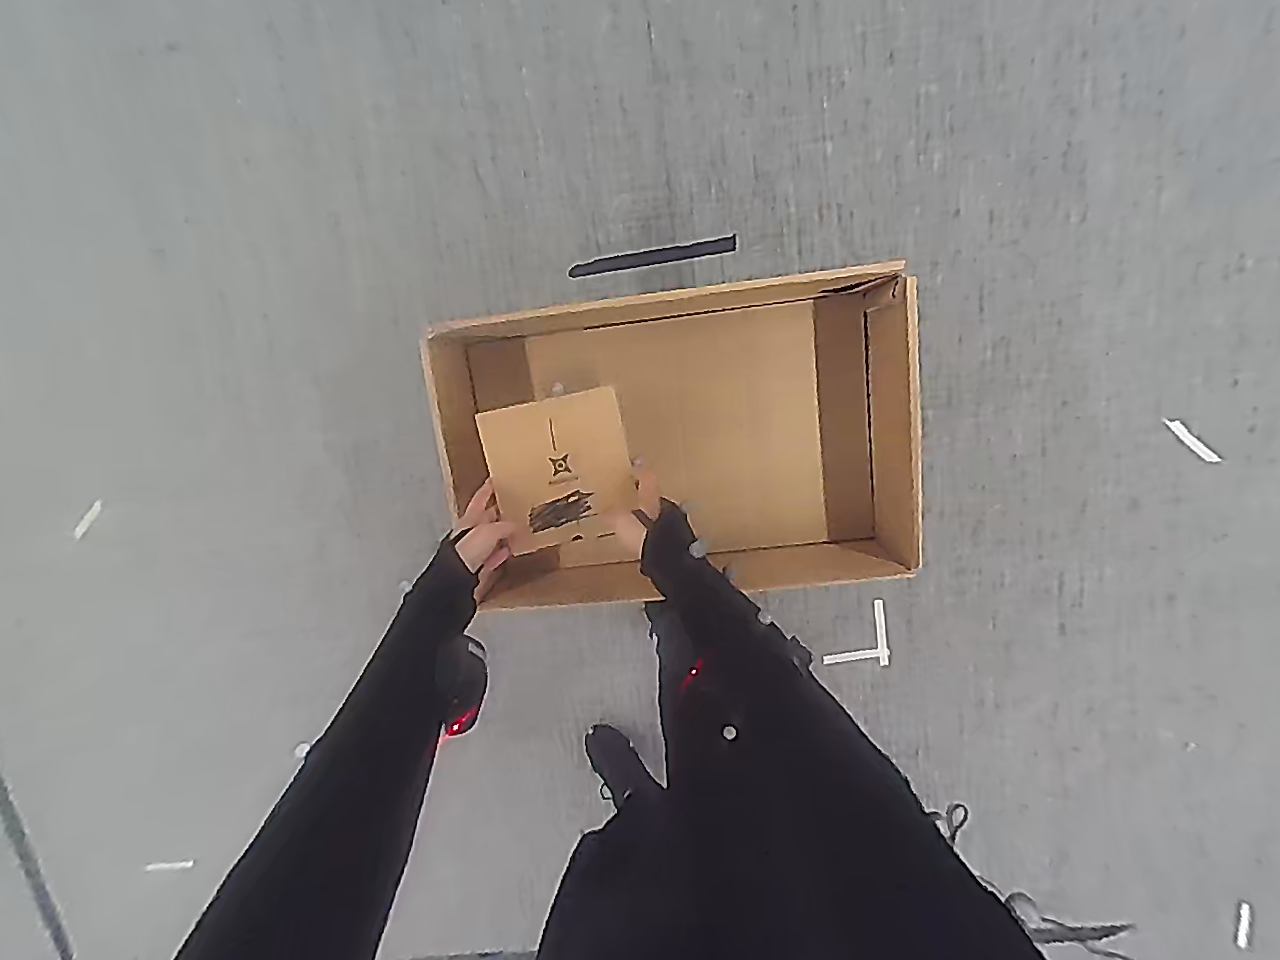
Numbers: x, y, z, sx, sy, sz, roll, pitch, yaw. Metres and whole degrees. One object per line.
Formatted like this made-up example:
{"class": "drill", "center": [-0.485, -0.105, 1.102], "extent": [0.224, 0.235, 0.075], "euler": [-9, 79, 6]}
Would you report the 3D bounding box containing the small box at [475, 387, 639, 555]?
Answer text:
{"class": "small box", "center": [-0.097, -0.021, 0.715], "extent": [0.168, 0.176, 0.179], "euler": [-12, 100, 0]}
